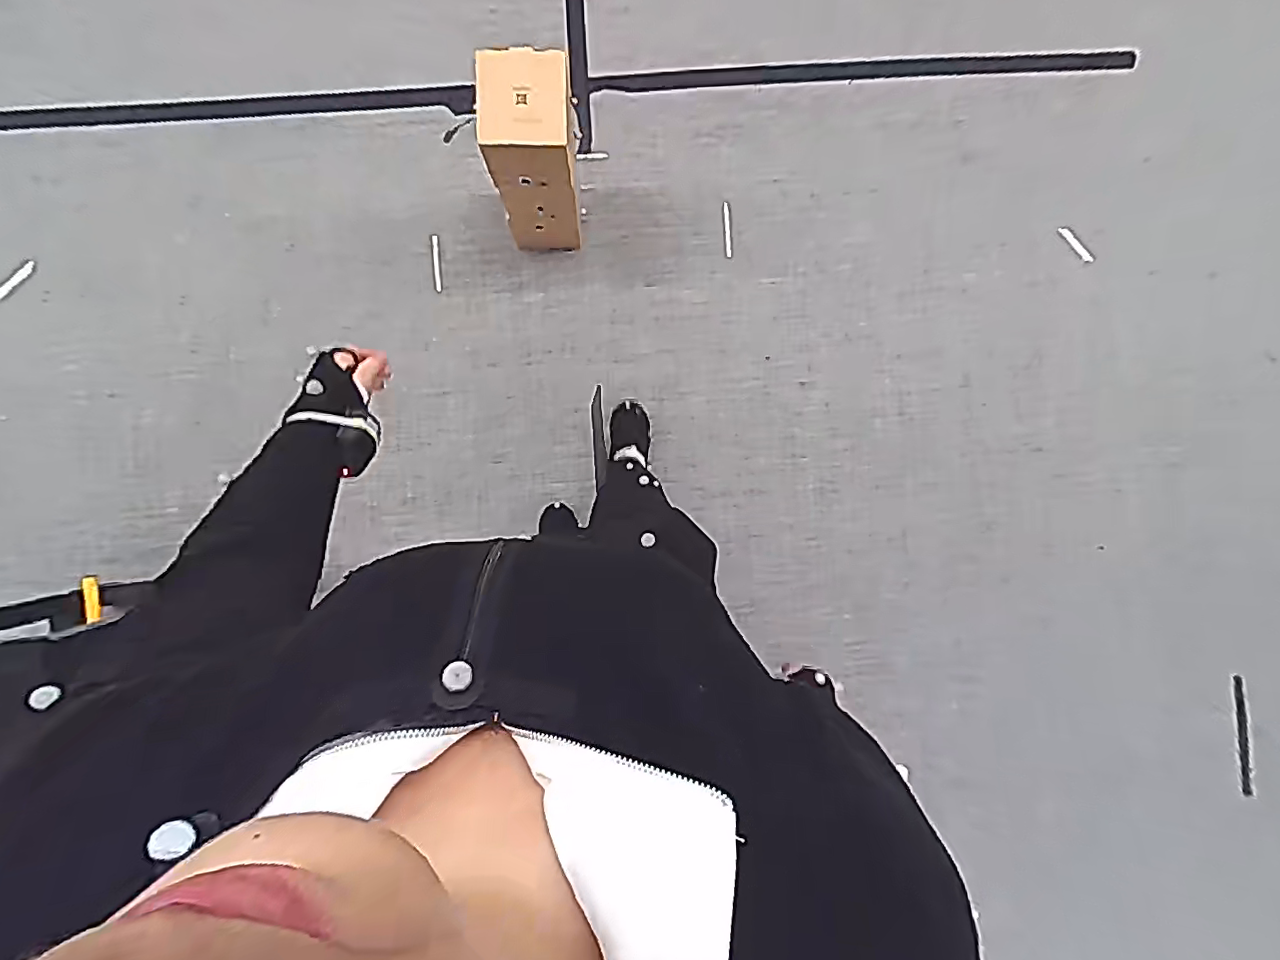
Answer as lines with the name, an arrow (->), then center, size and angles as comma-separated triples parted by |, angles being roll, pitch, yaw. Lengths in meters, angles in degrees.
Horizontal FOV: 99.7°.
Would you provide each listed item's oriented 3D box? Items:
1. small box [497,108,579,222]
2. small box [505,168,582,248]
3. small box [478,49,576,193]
small box -> -0.227, -0.713, 1.226 | 0.168, 0.176, 0.179 | -1, 92, -3
small box -> -0.243, -0.711, 1.390 | 0.179, 0.176, 0.168 | -1, 91, -4
small box -> -0.217, -0.696, 1.064 | 0.168, 0.176, 0.179 | -1, 92, -2
